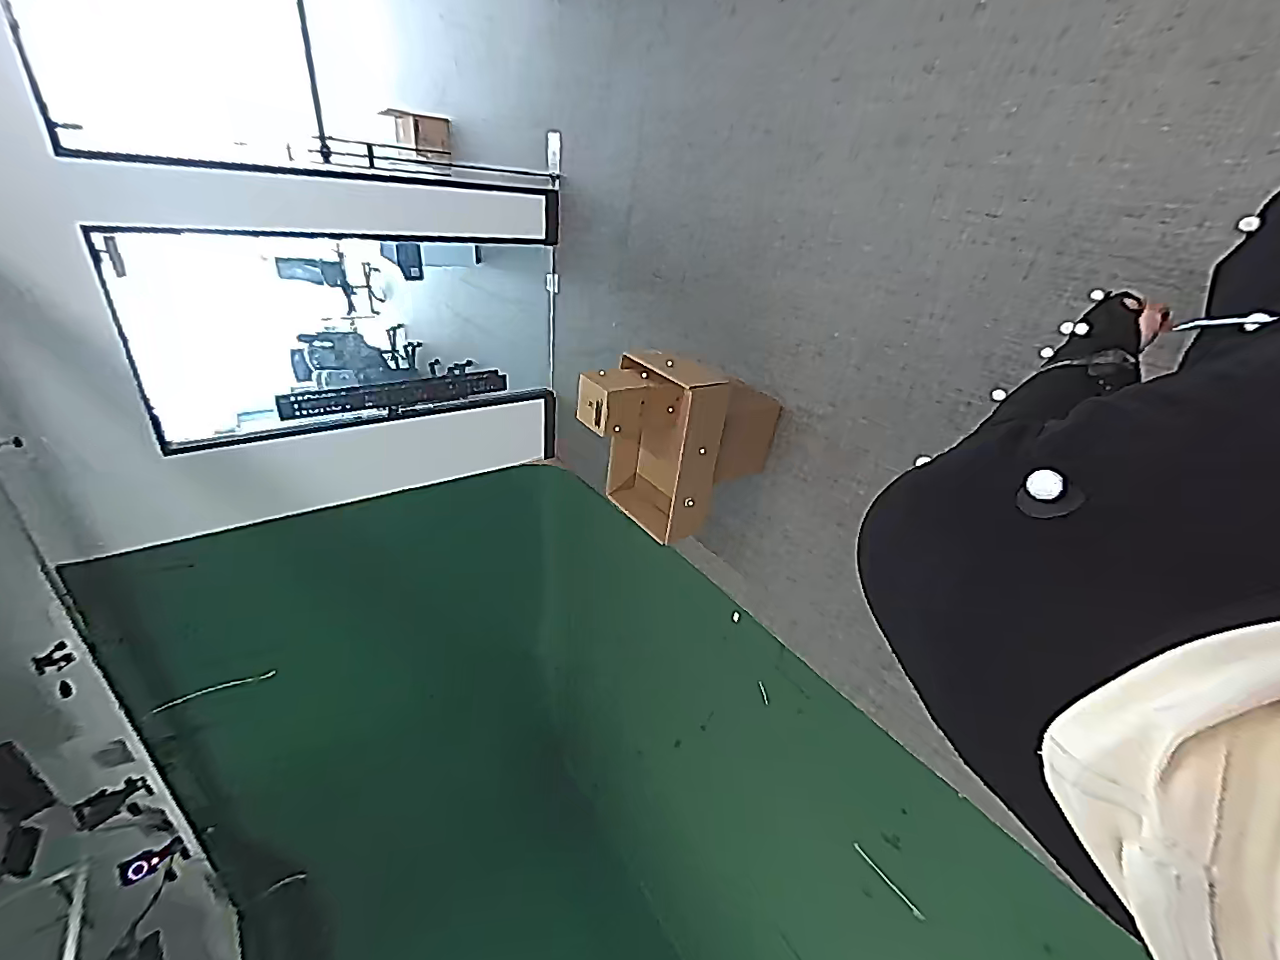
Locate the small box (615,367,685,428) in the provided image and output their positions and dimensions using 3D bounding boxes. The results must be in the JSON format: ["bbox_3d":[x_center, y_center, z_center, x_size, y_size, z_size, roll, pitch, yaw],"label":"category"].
[{"bbox_3d":[0.034,-0.303,1.941,0.179,0.176,0.168,38,131,41],"label":"small box"}]
